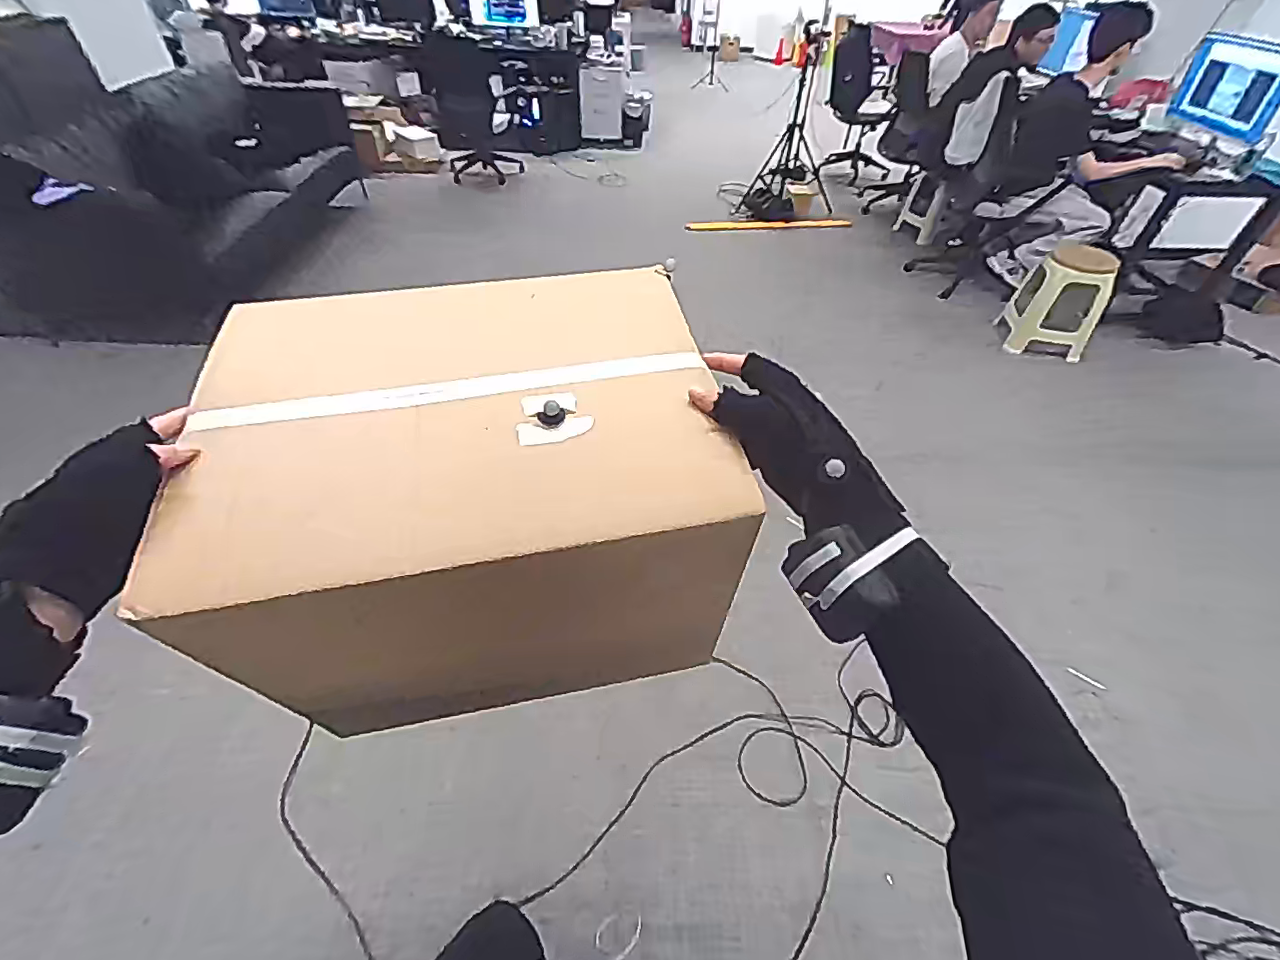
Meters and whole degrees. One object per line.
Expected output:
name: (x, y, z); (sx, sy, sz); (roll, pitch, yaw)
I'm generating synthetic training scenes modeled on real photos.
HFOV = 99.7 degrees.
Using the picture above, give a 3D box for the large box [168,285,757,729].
large box: (-0.143, 0.027, 0.574); (0.408, 0.320, 0.320); (-8, 53, -9)
